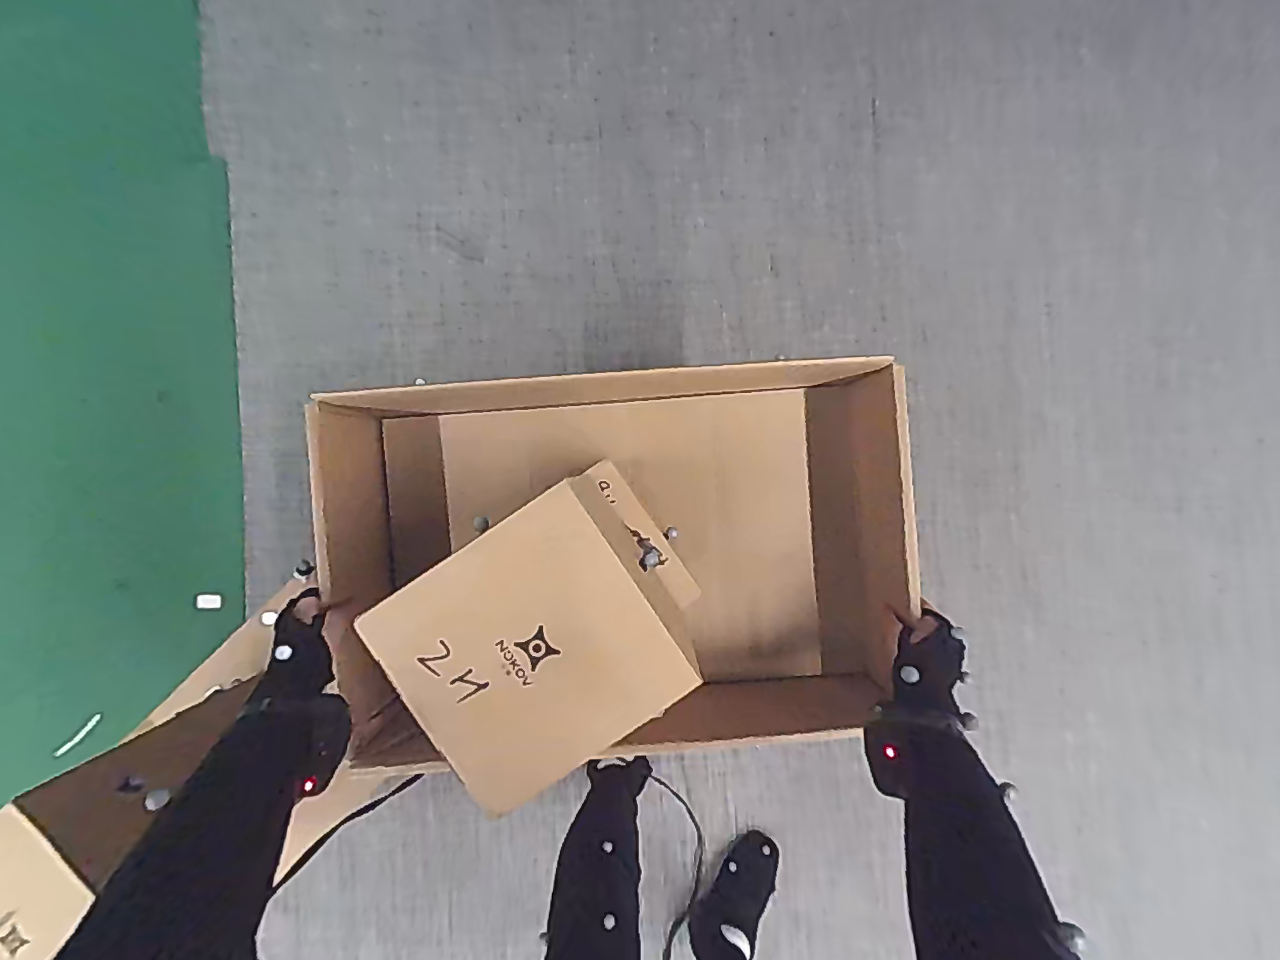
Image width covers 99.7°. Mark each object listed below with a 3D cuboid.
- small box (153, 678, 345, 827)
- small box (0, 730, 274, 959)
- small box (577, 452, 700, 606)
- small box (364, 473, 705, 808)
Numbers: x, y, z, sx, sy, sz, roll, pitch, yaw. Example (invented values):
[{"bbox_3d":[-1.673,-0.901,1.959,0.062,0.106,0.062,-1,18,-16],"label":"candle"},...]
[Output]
[{"bbox_3d":[-0.537,0.385,0.704,0.168,0.176,0.179,-40,90,0],"label":"small box"},{"bbox_3d":[-0.530,0.383,0.541,0.168,0.176,0.179,-43,89,0],"label":"small box"},{"bbox_3d":[-0.053,0.085,0.605,0.179,0.176,0.168,-35,91,1],"label":"small box"},{"bbox_3d":[-0.071,0.106,0.440,0.179,0.176,0.168,-34,90,1],"label":"small box"}]
